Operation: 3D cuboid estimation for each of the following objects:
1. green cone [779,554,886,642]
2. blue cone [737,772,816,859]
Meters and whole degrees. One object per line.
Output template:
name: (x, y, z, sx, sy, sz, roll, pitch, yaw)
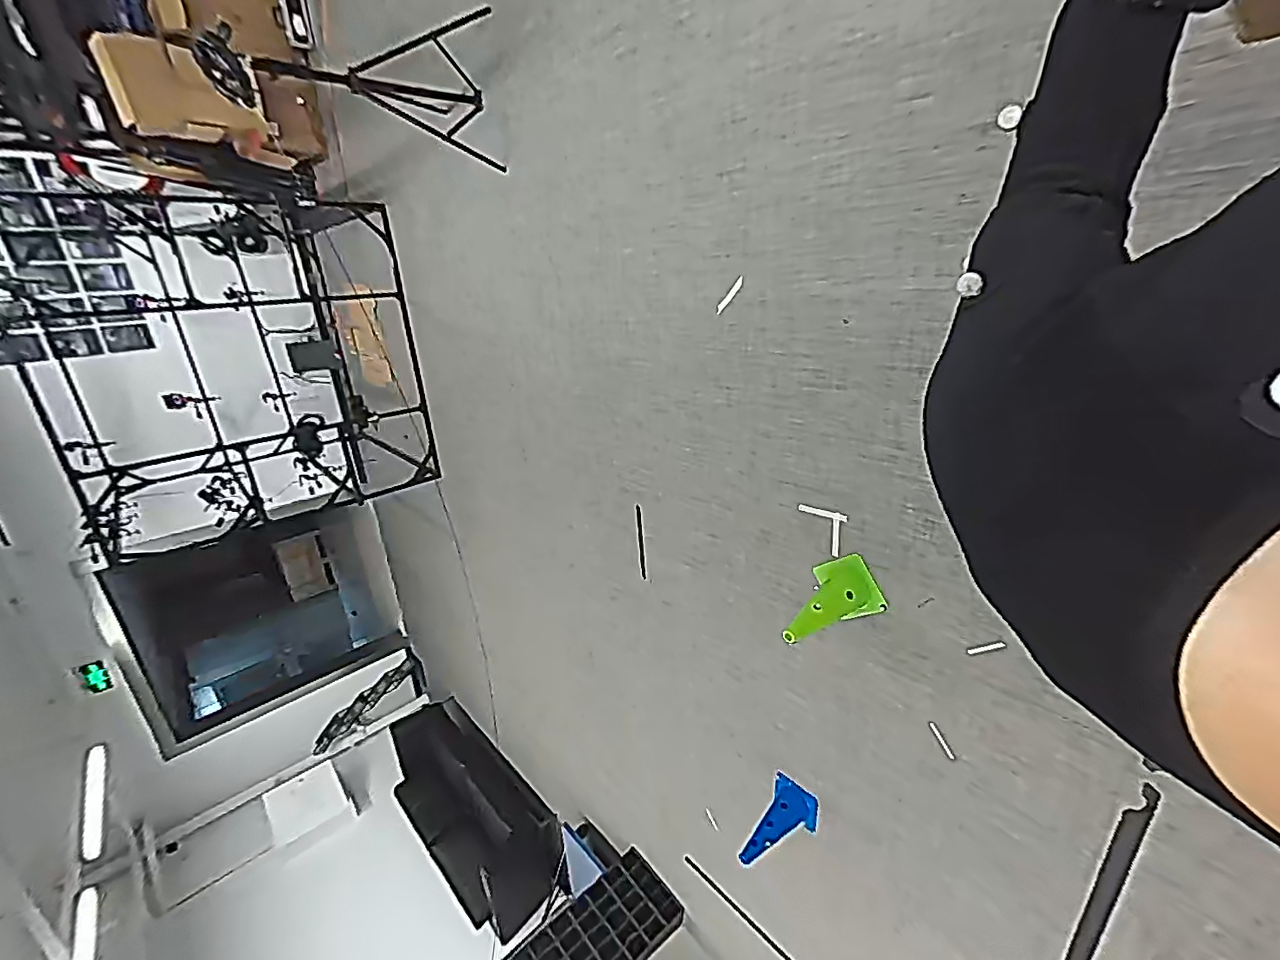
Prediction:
green cone: (0.558, 0.400, 1.679, 0.202, 0.368, 0.200, -39, 75, 53)
blue cone: (0.535, 1.405, 2.199, 0.192, 0.380, 0.193, 24, 123, 44)
